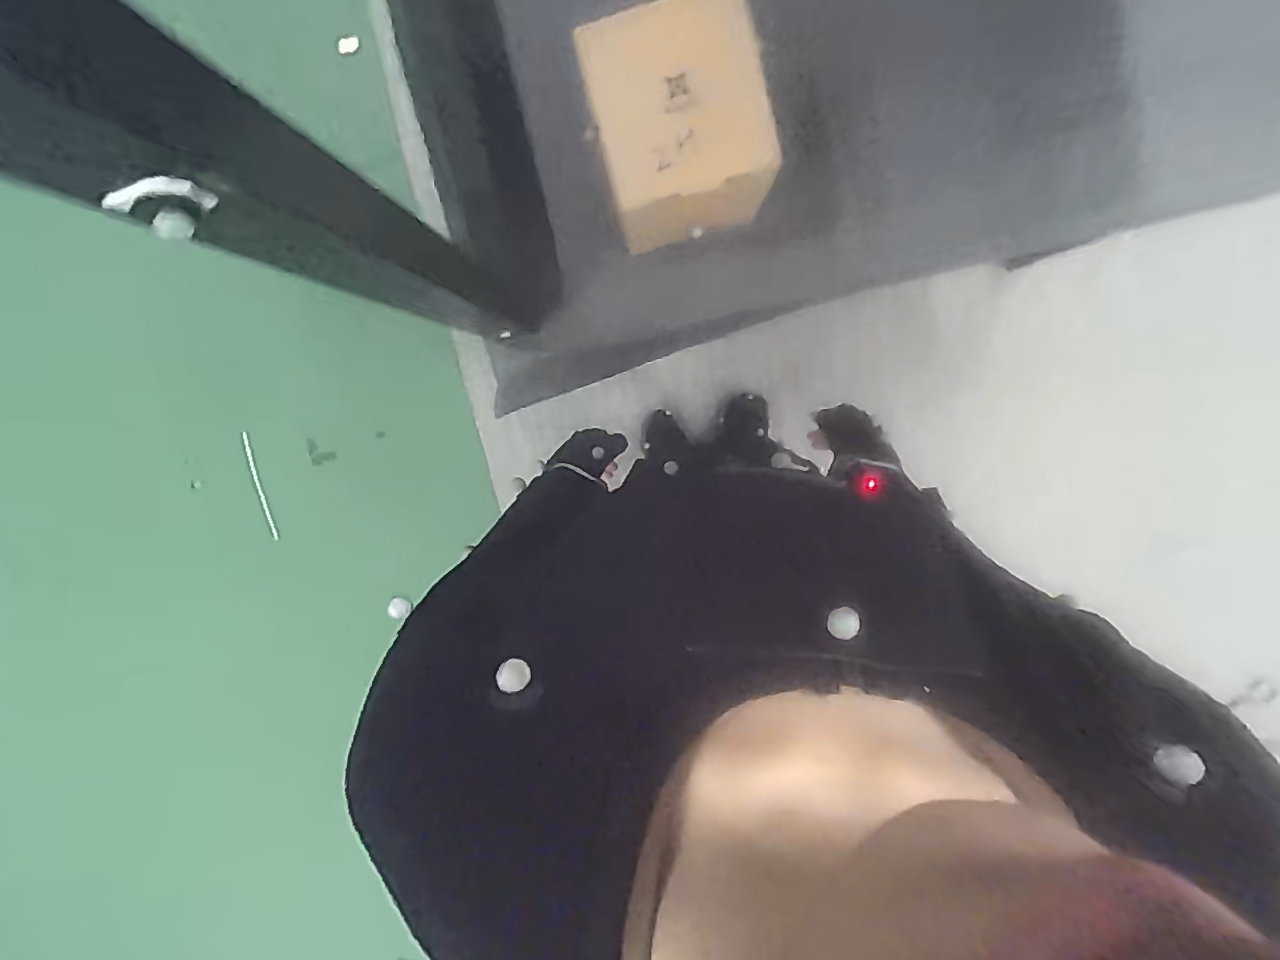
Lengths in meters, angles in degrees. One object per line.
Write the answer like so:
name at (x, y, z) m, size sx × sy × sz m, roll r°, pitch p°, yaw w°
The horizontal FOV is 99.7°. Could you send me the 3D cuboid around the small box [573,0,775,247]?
small box at (0.036, -0.389, 0.602) m, size 0.168 × 0.176 × 0.179 m, roll -15°, pitch 97°, yaw 5°
